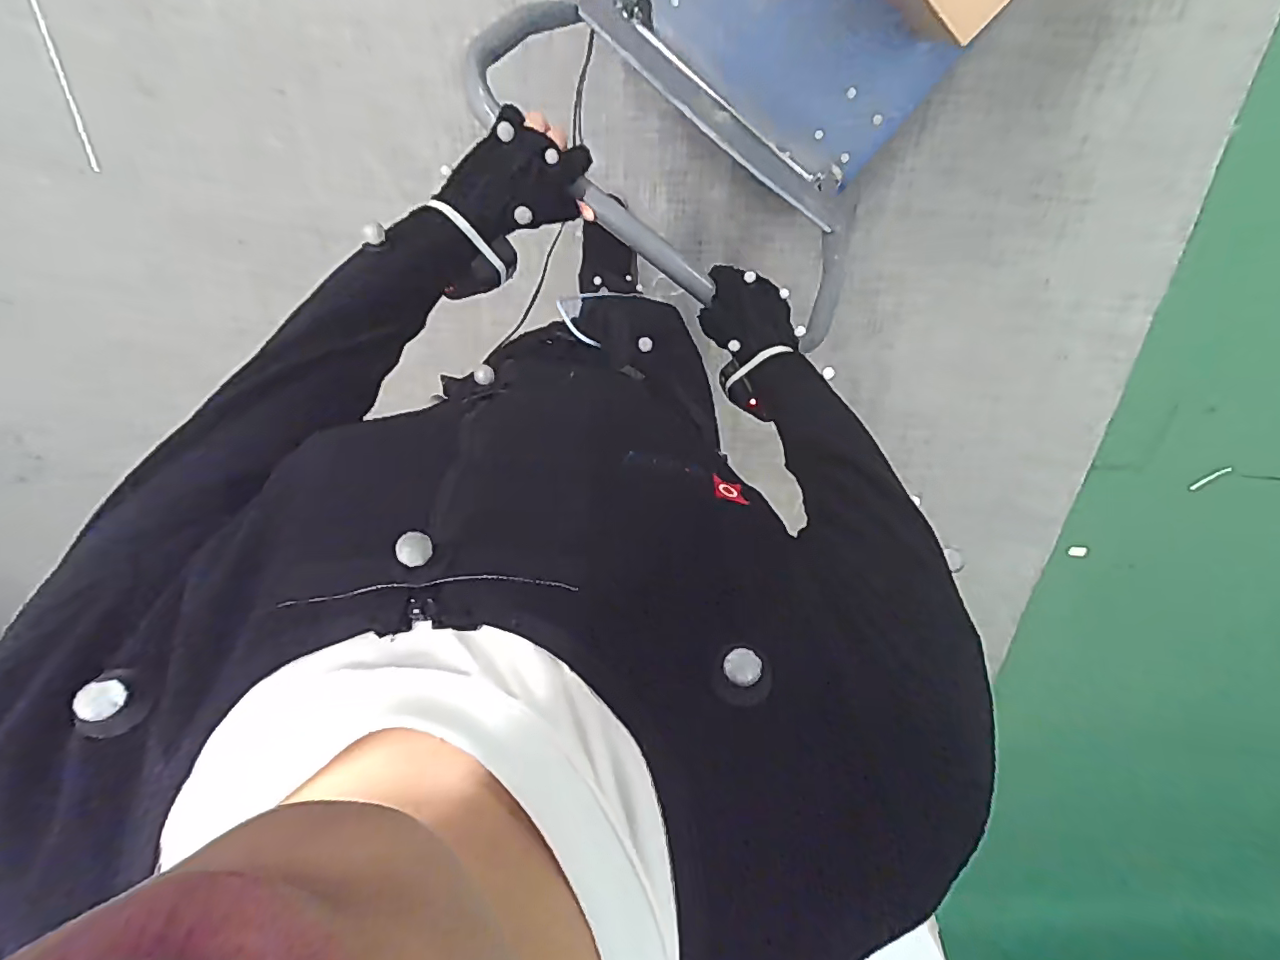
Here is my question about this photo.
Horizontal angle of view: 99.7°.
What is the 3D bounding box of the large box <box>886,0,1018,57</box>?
[{"bbox_3d":[0.402,-0.846,0.687,0.408,0.320,0.320,39,129,-16],"label":"large box"}]
